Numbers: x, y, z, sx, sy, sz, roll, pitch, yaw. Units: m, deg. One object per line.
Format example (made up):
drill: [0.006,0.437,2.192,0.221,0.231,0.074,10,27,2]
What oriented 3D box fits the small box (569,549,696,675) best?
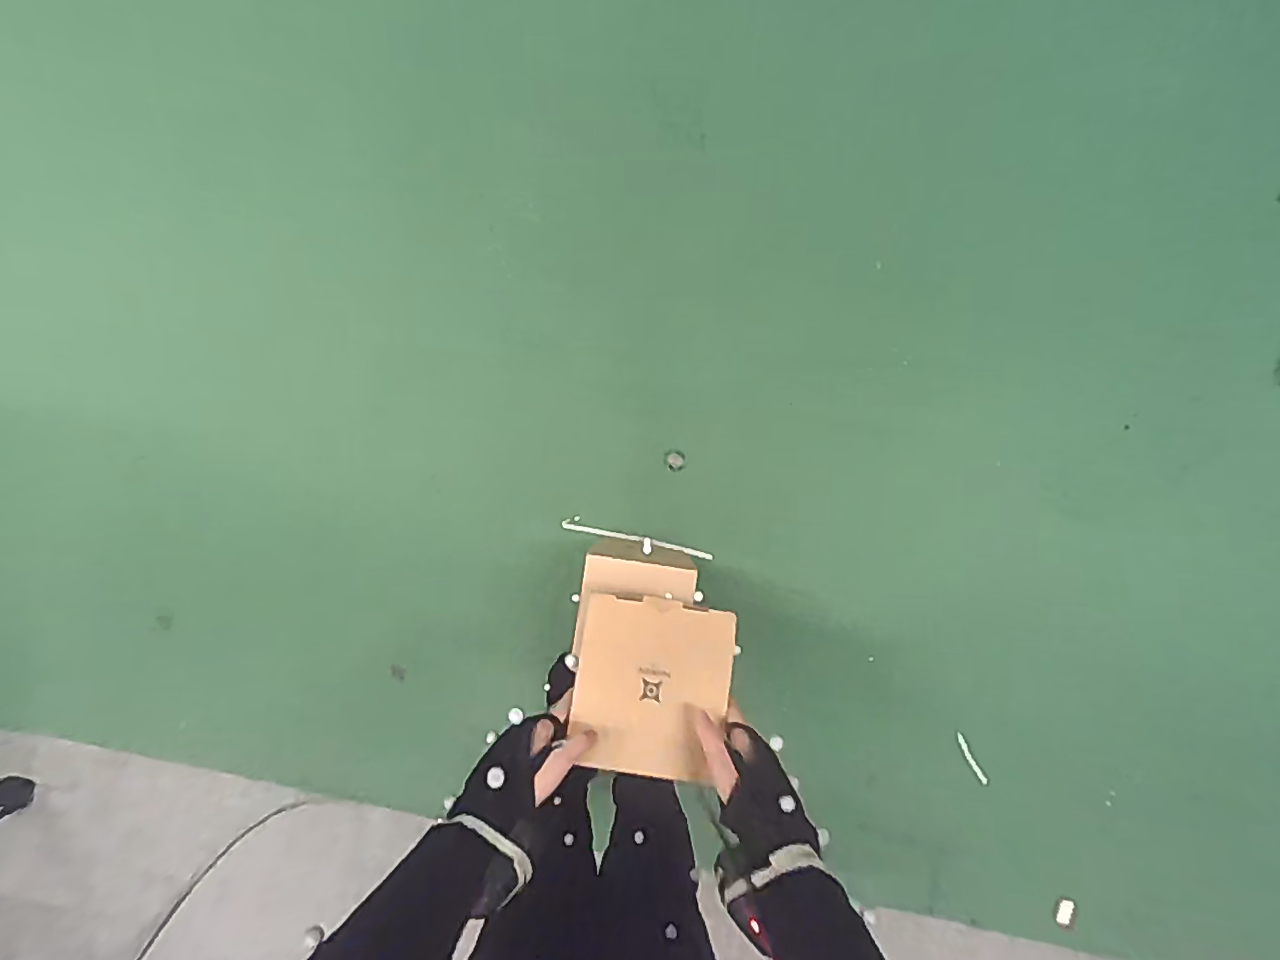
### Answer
small box: [-0.011,0.213,0.869,0.168,0.176,0.179,9,89,1]

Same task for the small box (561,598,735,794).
small box: [0.010,0.244,0.647,0.168,0.176,0.179,9,75,1]
